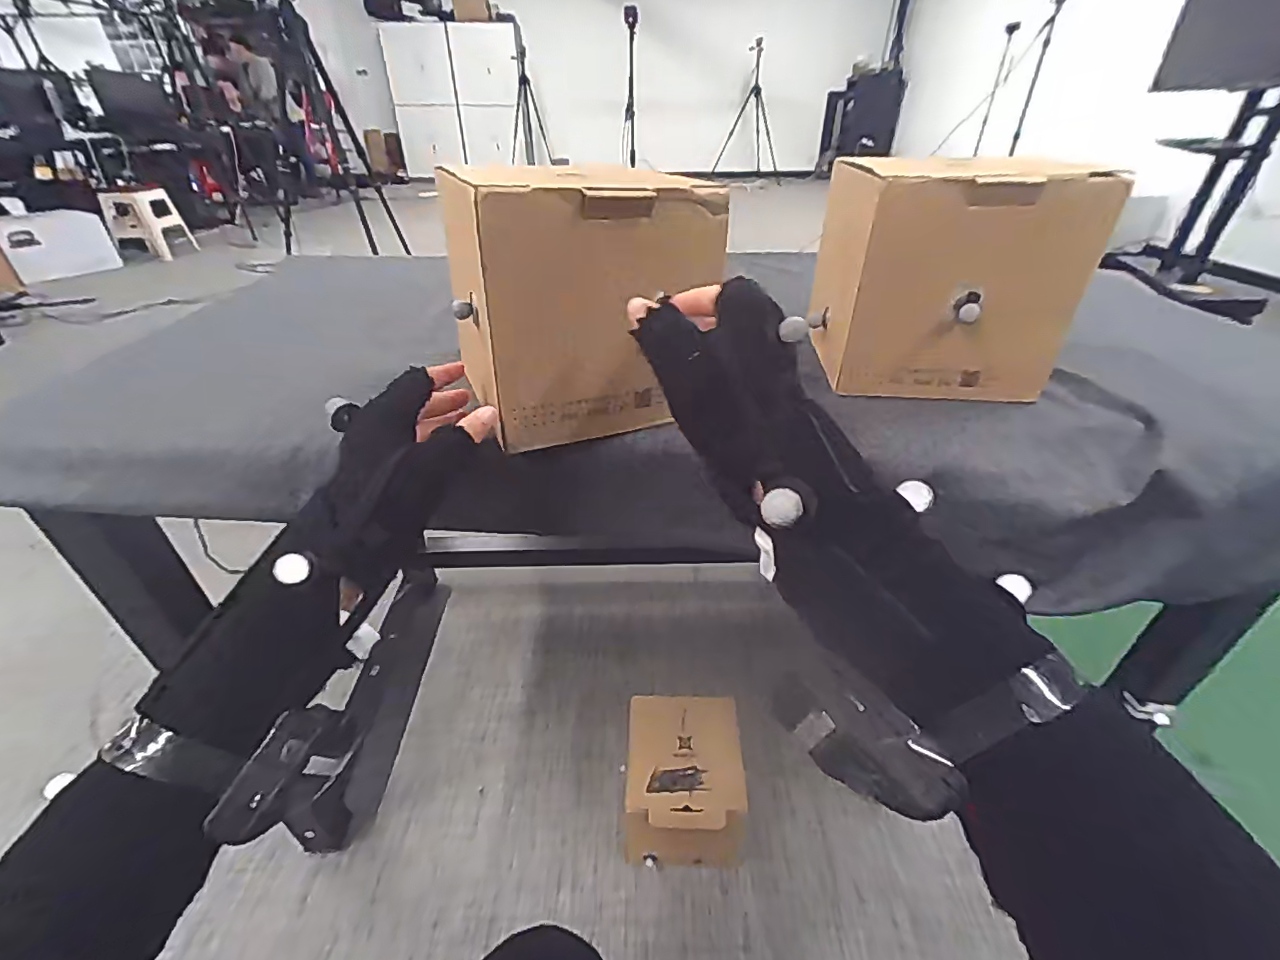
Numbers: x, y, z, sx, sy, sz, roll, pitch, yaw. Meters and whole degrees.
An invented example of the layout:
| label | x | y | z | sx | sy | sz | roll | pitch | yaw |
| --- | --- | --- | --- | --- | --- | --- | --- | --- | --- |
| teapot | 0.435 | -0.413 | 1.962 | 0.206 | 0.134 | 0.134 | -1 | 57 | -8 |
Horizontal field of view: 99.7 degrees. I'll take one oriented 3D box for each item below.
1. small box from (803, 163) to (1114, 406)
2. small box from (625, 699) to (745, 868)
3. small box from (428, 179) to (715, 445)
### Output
| label | x | y | z | sx | sy | sz | roll | pitch | yaw |
| --- | --- | --- | --- | --- | --- | --- | --- | --- | --- |
| small box | 0.250 | -0.176 | 0.482 | 0.168 | 0.176 | 0.179 | 3 | 35 | 5 |
| small box | 0.067 | 0.466 | 0.834 | 0.168 | 0.176 | 0.179 | 0 | 33 | 2 |
| small box | -0.058 | -0.136 | 0.428 | 0.168 | 0.176 | 0.179 | -13 | 34 | -22 |
